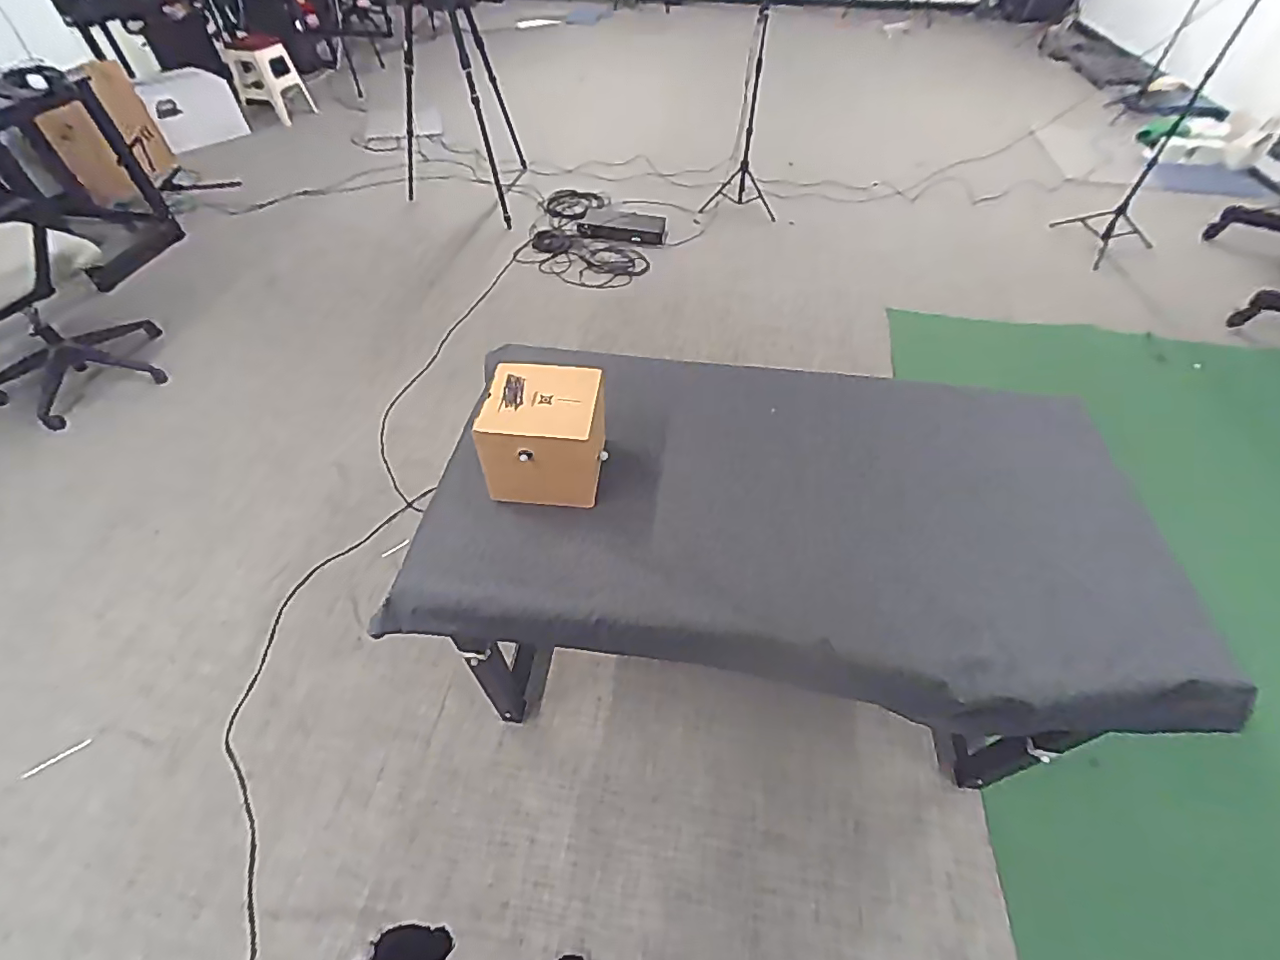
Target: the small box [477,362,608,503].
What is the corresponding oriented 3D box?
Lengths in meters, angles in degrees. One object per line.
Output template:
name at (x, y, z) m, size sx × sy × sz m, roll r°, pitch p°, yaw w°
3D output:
small box at (-0.151, -0.077, 0.912) m, size 0.179 × 0.176 × 0.168 m, roll 5°, pitch 51°, yaw 2°
